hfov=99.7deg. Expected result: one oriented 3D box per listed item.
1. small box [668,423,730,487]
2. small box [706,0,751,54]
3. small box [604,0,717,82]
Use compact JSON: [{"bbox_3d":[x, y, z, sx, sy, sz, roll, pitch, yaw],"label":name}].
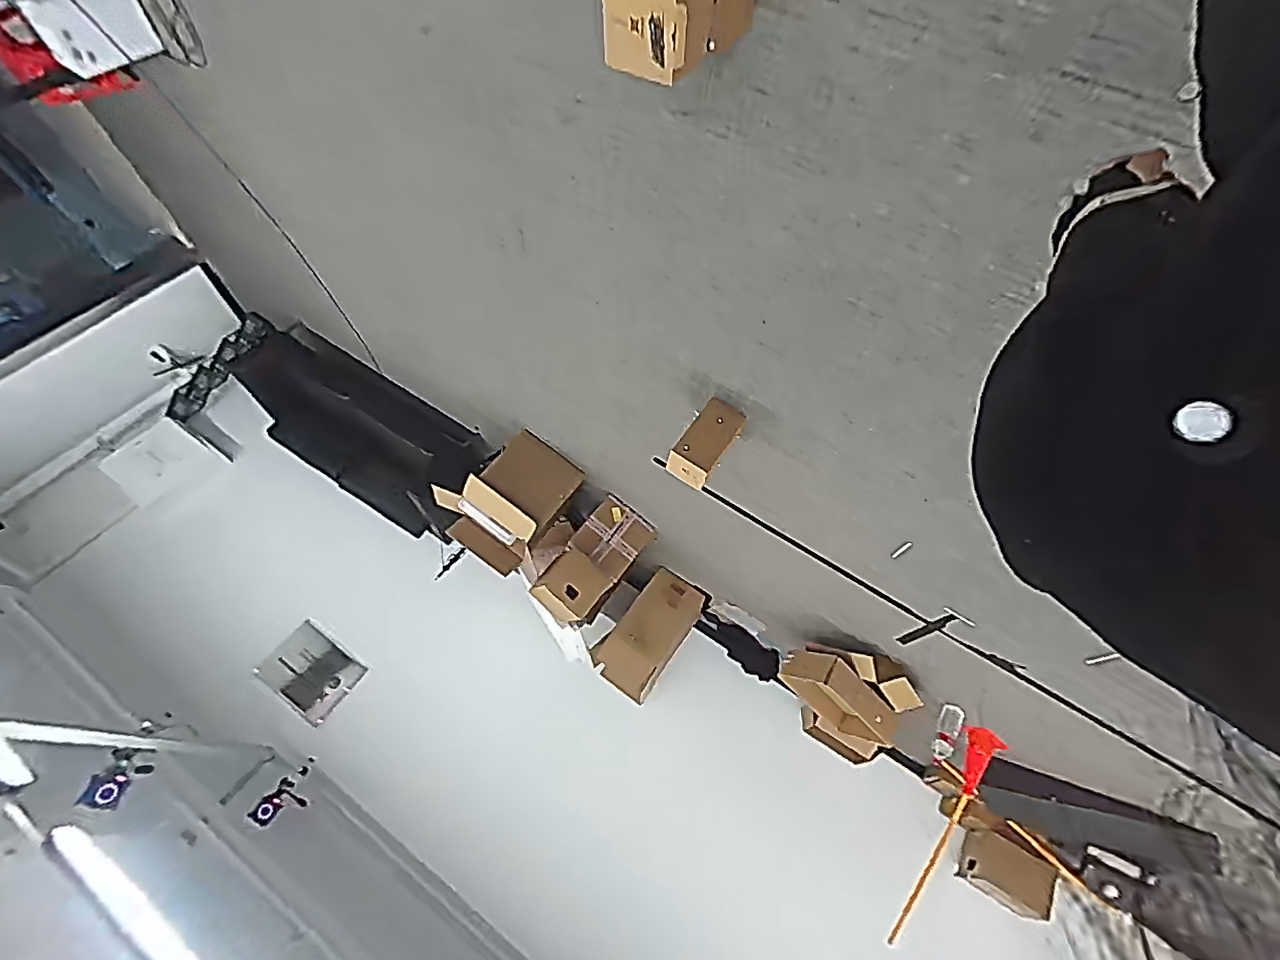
[{"bbox_3d":[0.240,-0.110,2.220,0.179,0.176,0.168,33,155,10],"label":"small box"},{"bbox_3d":[0.138,-1.063,1.165,0.179,0.176,0.168,30,153,18],"label":"small box"},{"bbox_3d":[0.046,-0.949,1.089,0.179,0.176,0.168,30,153,17],"label":"small box"}]
